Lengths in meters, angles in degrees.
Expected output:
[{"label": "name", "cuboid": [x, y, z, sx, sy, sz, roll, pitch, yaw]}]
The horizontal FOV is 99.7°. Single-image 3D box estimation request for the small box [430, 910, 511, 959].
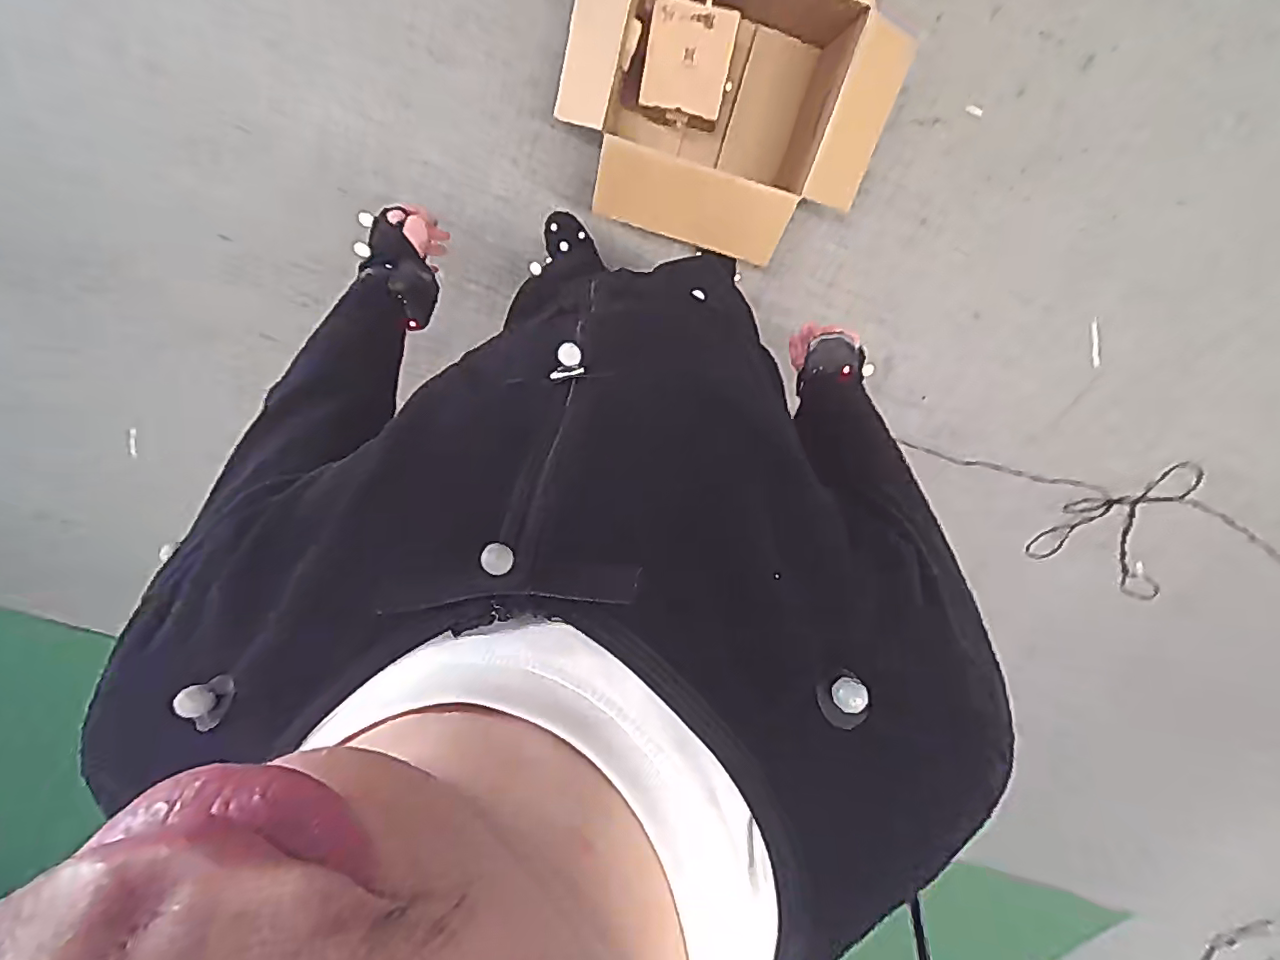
[{"label": "small box", "cuboid": [-0.448, 1.255, 1.394, 0.168, 0.176, 0.179, 29, 114, -13]}]
